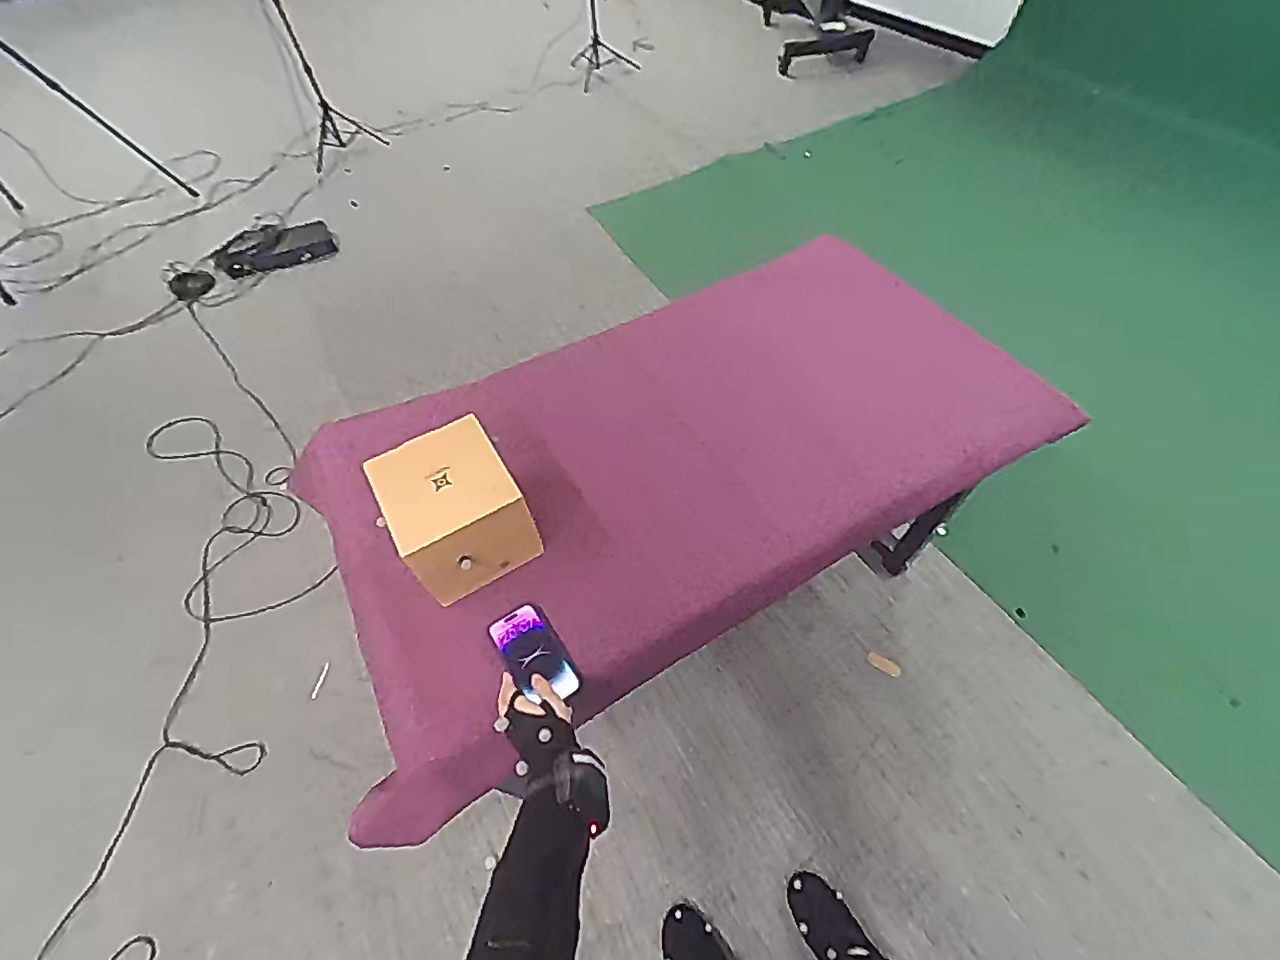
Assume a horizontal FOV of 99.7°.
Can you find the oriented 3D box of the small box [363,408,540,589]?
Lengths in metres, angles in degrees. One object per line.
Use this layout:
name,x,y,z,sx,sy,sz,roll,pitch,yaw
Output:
small box,-0.263,0.036,0.783,0.168,0.176,0.179,-28,58,-16
